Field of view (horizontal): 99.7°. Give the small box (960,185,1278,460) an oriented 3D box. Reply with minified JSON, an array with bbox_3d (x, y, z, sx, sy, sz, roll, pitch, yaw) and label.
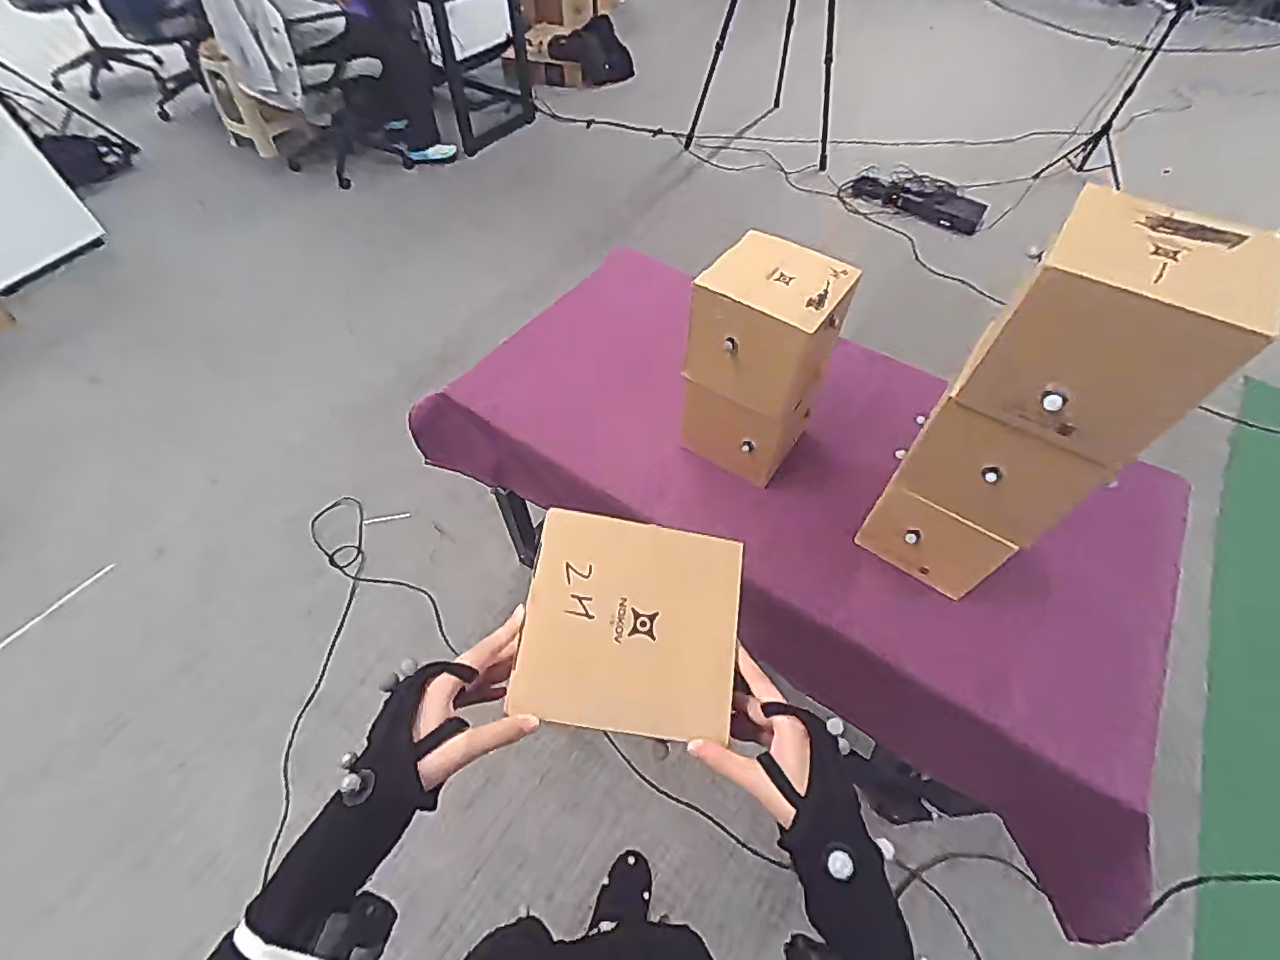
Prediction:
[{"bbox_3d":[0.458,-0.155,0.540,0.168,0.176,0.179,31,60,20],"label":"small box"}]

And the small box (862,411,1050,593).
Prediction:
[{"bbox_3d":[0.458,0.037,0.808,0.168,0.176,0.179,32,59,20],"label":"small box"}]

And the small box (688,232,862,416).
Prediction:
[{"bbox_3d":[0.185,-0.223,0.787,0.179,0.176,0.168,31,59,20],"label":"small box"}]

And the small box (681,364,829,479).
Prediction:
[{"bbox_3d":[0.187,-0.127,0.920,0.179,0.176,0.168,31,59,19],"label":"small box"}]
